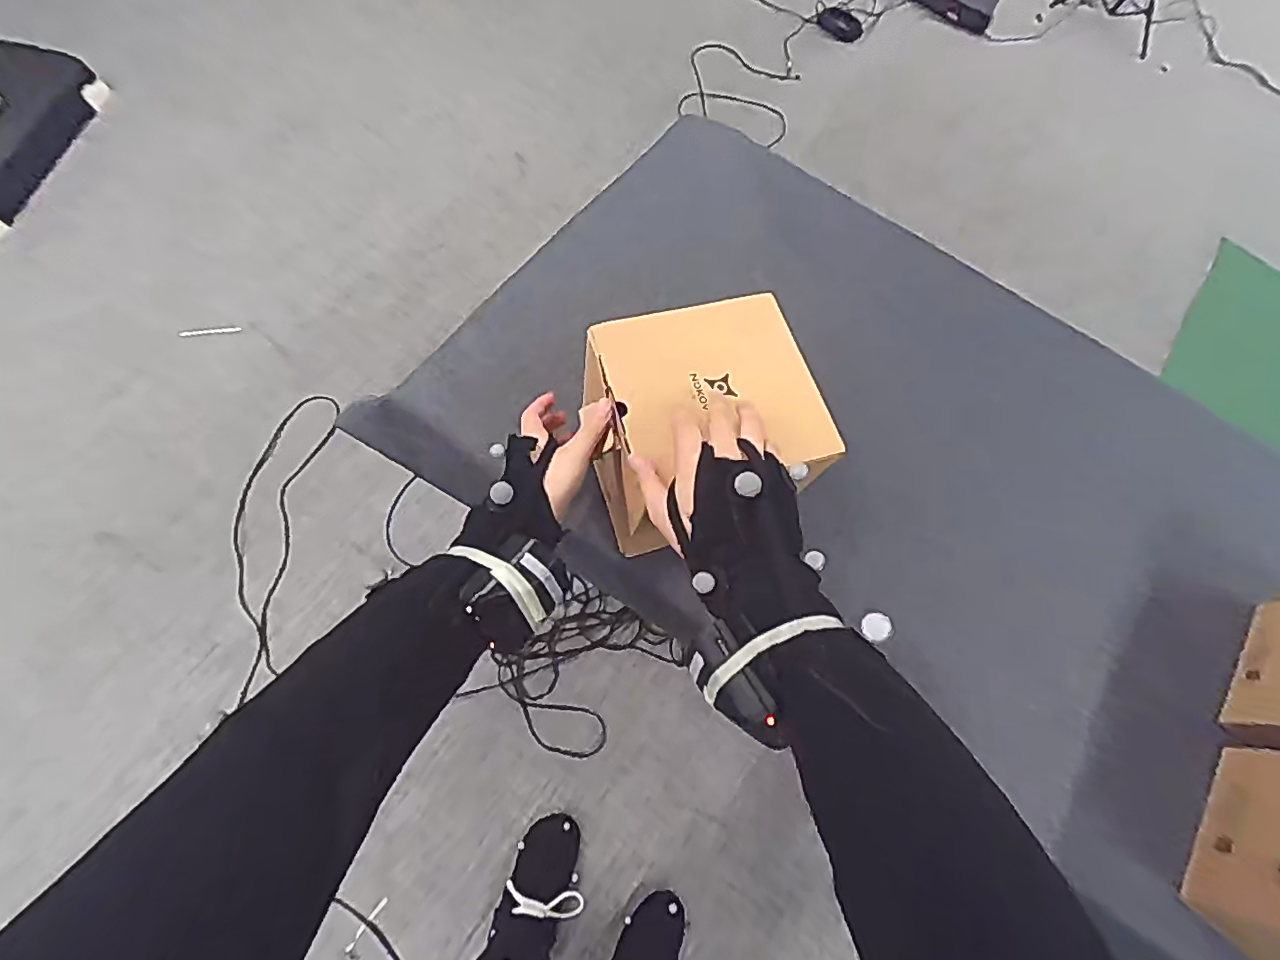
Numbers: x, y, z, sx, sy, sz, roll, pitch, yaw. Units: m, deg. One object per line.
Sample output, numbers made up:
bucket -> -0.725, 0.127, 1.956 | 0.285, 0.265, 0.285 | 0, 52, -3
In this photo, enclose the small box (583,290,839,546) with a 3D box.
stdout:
small box -> 0.049, -0.050, 0.518 | 0.179, 0.176, 0.168 | -14, 72, -12
